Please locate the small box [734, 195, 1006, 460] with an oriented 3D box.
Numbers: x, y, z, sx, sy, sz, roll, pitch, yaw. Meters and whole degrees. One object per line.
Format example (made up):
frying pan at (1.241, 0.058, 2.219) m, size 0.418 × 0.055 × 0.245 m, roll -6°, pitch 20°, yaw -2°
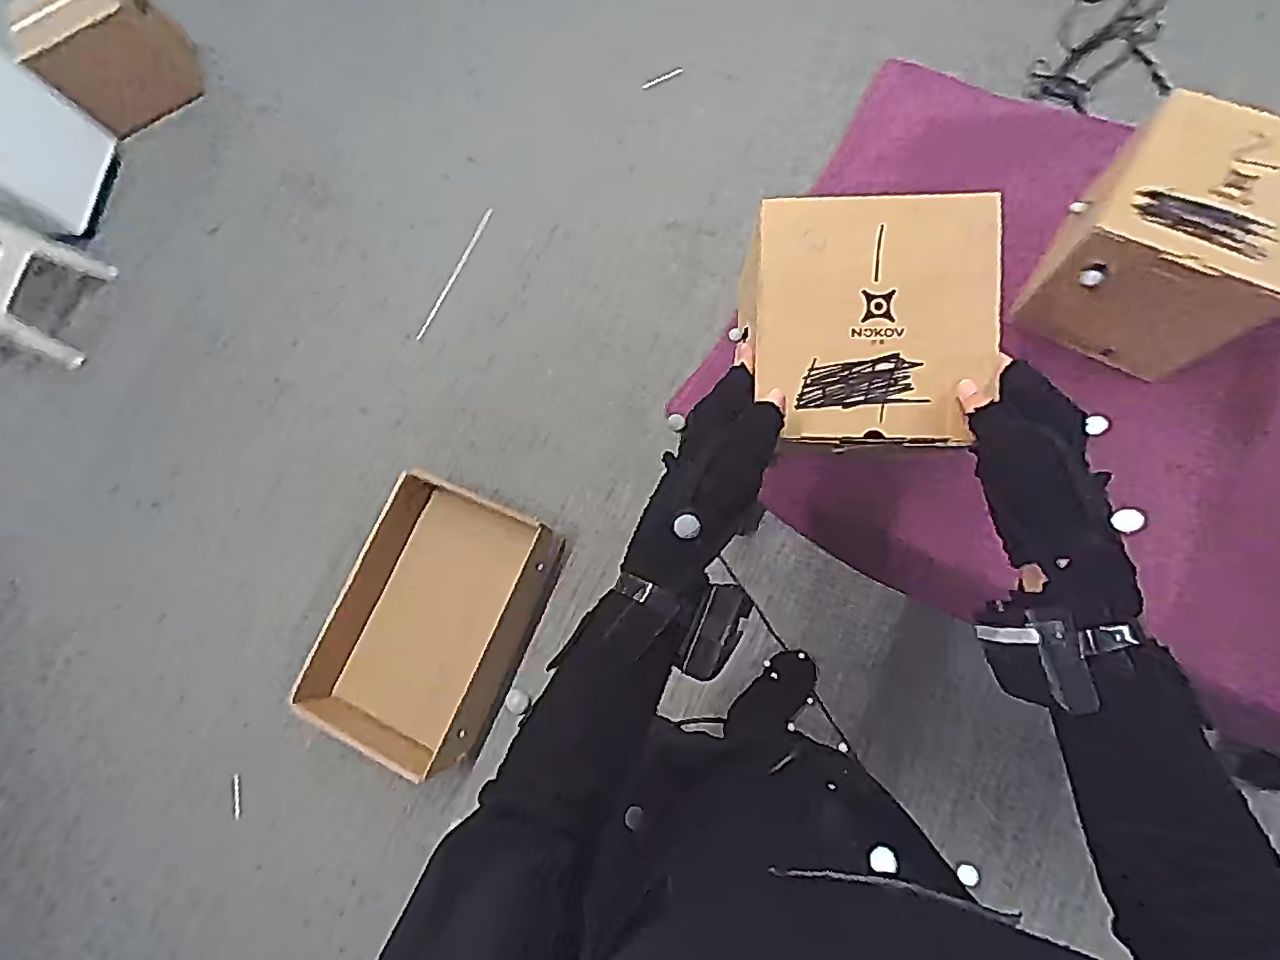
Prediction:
small box at (0.171, -0.109, 0.453) m, size 0.168 × 0.176 × 0.179 m, roll 2°, pitch 88°, yaw 5°
